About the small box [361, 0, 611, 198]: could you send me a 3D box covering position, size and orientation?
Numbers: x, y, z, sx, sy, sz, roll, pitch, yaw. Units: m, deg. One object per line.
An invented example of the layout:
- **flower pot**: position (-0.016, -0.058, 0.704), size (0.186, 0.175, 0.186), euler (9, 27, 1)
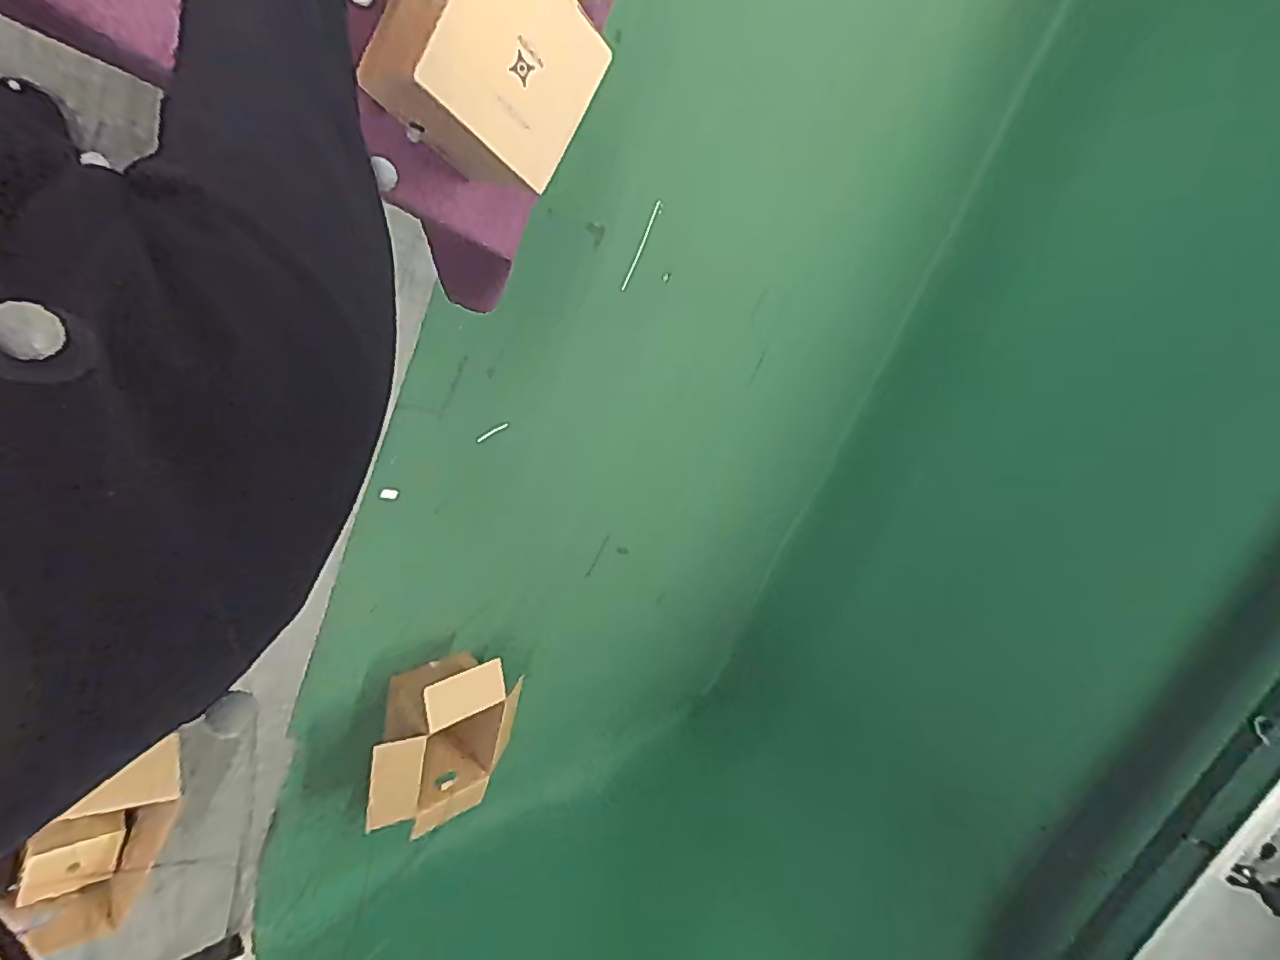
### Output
- **small box**: position (-0.171, -0.449, 0.592), size (0.168, 0.176, 0.179), euler (24, 98, -52)
